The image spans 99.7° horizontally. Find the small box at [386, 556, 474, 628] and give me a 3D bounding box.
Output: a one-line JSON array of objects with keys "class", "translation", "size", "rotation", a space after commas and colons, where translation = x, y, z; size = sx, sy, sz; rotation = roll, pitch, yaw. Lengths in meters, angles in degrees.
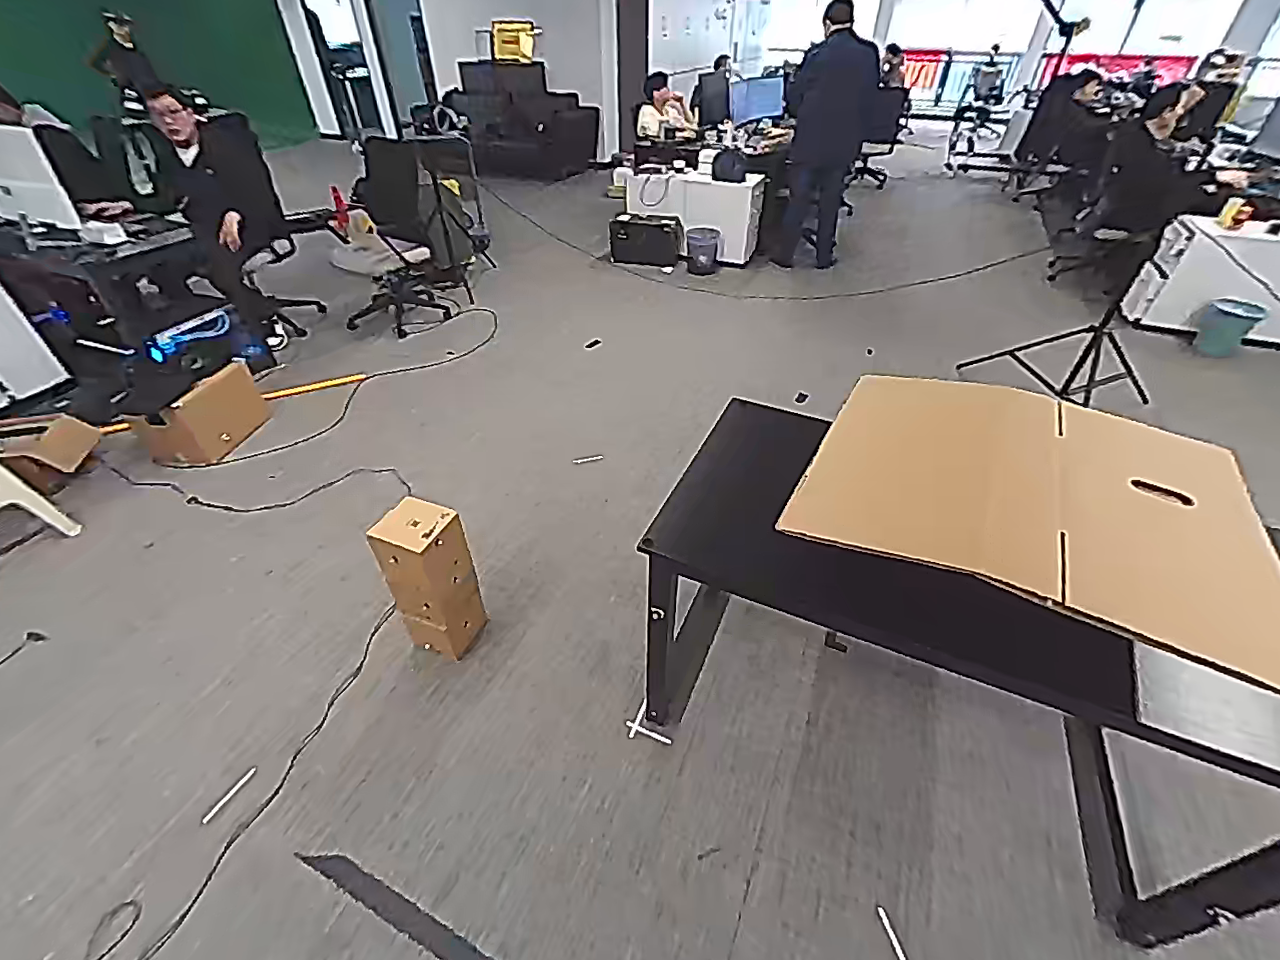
[{"class": "small box", "translation": [-0.612, 0.311, 1.604], "size": [0.168, 0.176, 0.179], "rotation": [12, 40, 12]}]

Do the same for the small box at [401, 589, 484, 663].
[{"class": "small box", "translation": [-0.611, 0.440, 1.703], "size": [0.168, 0.176, 0.179], "rotation": [14, 43, 16]}]

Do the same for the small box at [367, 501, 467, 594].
[{"class": "small box", "translation": [-0.608, 0.188, 1.496], "size": [0.179, 0.176, 0.168], "rotation": [14, 42, 15]}]
